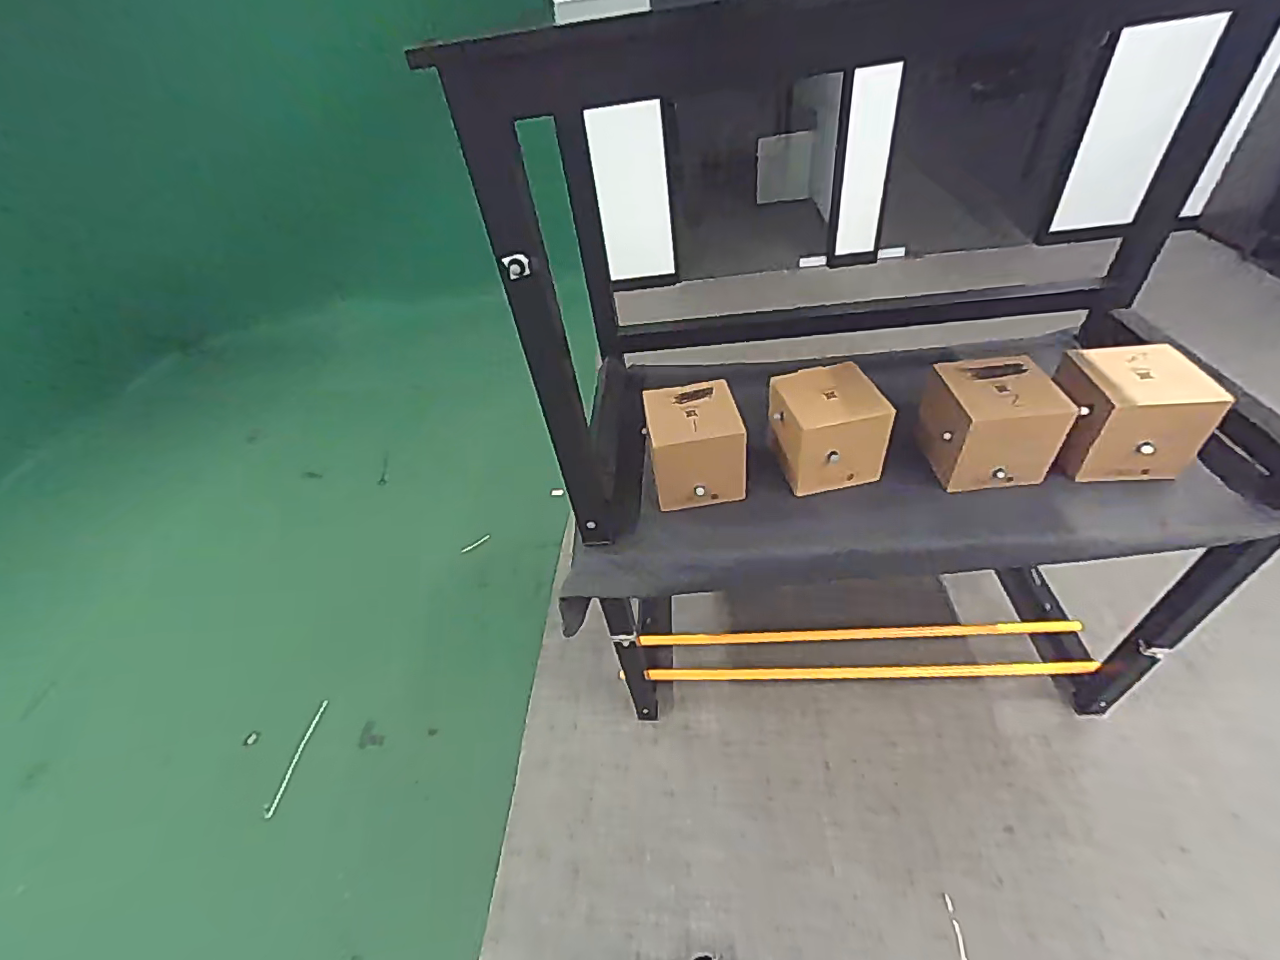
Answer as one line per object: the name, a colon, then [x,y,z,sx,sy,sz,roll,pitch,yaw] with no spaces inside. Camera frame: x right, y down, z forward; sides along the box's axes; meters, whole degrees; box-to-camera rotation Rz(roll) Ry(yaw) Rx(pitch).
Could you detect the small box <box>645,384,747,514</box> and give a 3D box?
small box: [0.106,-0.060,1.049,0.168,0.176,0.179,-9,43,1]
